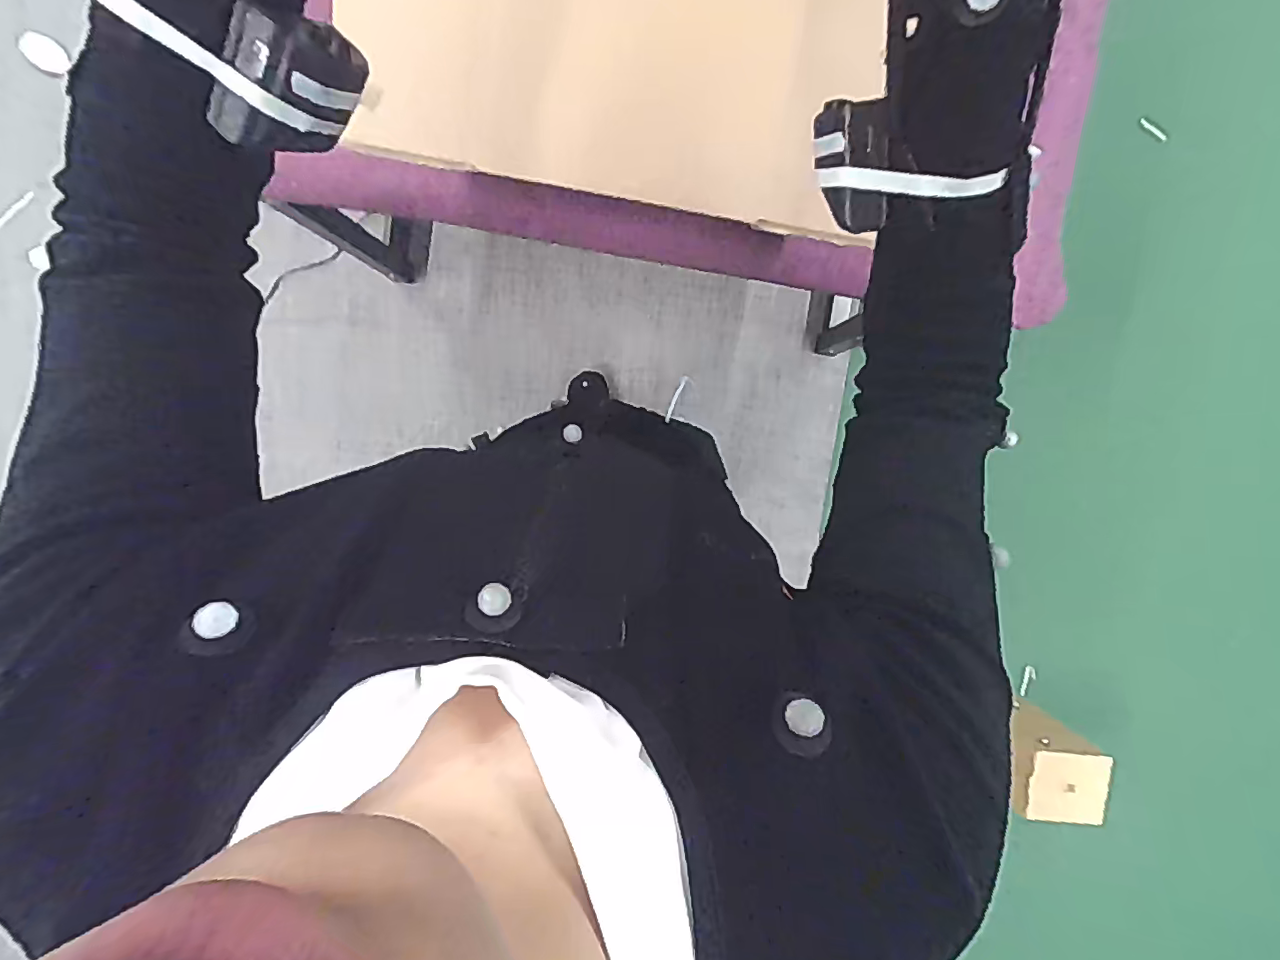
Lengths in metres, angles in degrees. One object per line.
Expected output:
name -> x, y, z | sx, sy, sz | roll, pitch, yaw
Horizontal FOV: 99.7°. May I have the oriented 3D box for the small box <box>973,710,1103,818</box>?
small box -> 0.952, 0.677, 1.306 | 0.179, 0.176, 0.168 | 5, 96, 0
